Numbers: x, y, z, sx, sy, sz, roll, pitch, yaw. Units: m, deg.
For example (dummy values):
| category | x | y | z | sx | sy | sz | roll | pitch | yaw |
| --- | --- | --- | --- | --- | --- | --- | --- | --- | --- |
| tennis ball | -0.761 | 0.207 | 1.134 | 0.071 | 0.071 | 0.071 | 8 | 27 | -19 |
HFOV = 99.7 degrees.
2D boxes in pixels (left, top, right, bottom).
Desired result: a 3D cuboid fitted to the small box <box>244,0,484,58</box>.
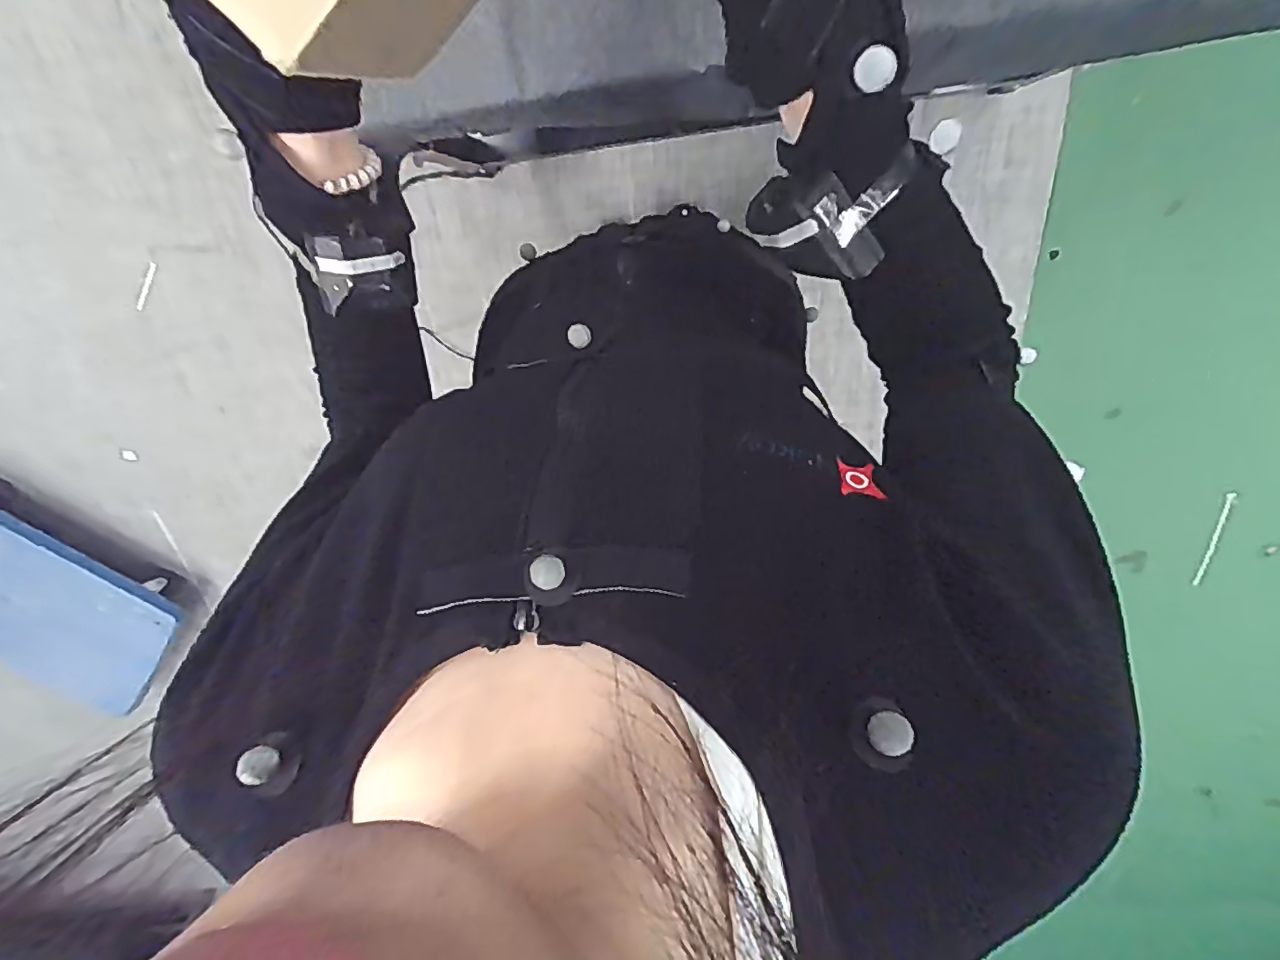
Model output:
| category | x | y | z | sx | sy | sz | roll | pitch | yaw |
| --- | --- | --- | --- | --- | --- | --- | --- | --- | --- |
| small box | -0.099 | -0.263 | 0.152 | 0.168 | 0.176 | 0.179 | -37 | 122 | 16 |
